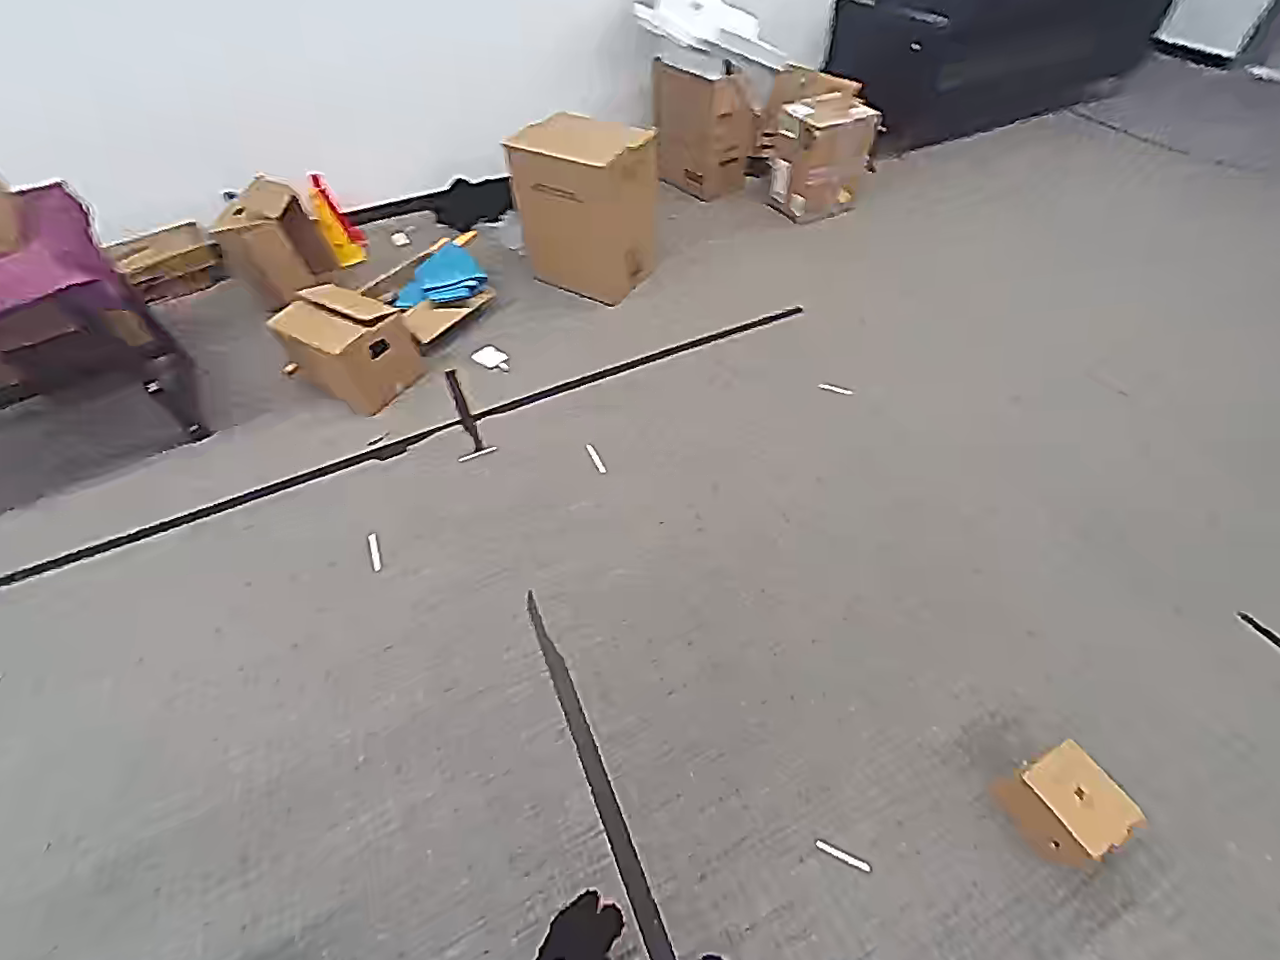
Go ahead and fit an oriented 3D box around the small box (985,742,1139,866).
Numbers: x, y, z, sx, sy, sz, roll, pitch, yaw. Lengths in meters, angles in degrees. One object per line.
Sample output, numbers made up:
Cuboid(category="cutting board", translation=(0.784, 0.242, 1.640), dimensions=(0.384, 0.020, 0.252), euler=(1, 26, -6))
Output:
Cuboid(category="small box", translation=(0.928, 0.728, 1.207), dimensions=(0.168, 0.176, 0.179), euler=(-24, 53, -17))
